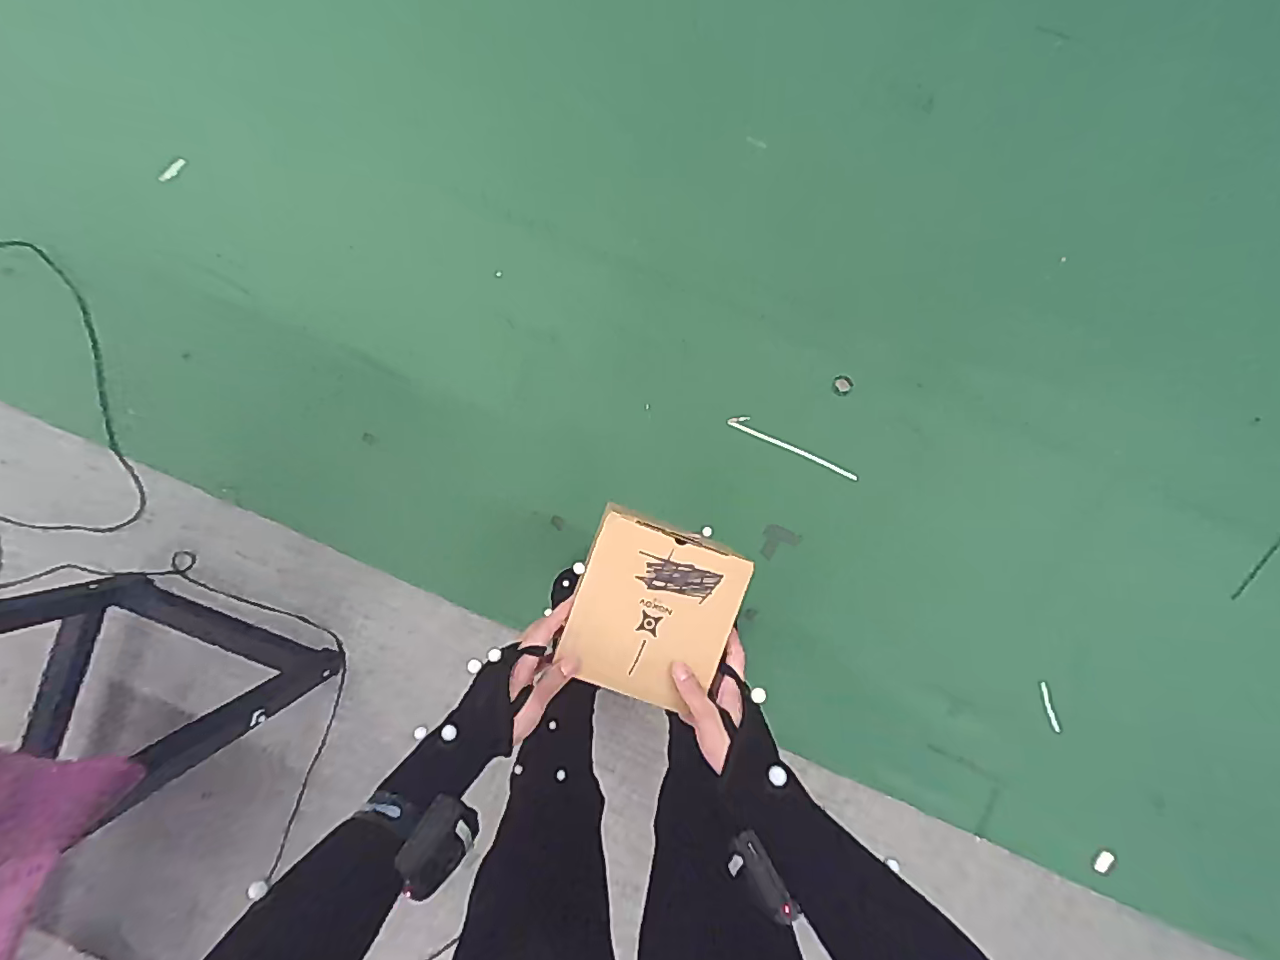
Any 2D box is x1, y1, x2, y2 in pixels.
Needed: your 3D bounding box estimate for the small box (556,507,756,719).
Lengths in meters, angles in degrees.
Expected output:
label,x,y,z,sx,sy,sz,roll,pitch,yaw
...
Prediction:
label,x,y,z,sx,sy,sz,roll,pitch,yaw
small box,0.013,0.140,0.641,0.168,0.176,0.179,21,90,-3
